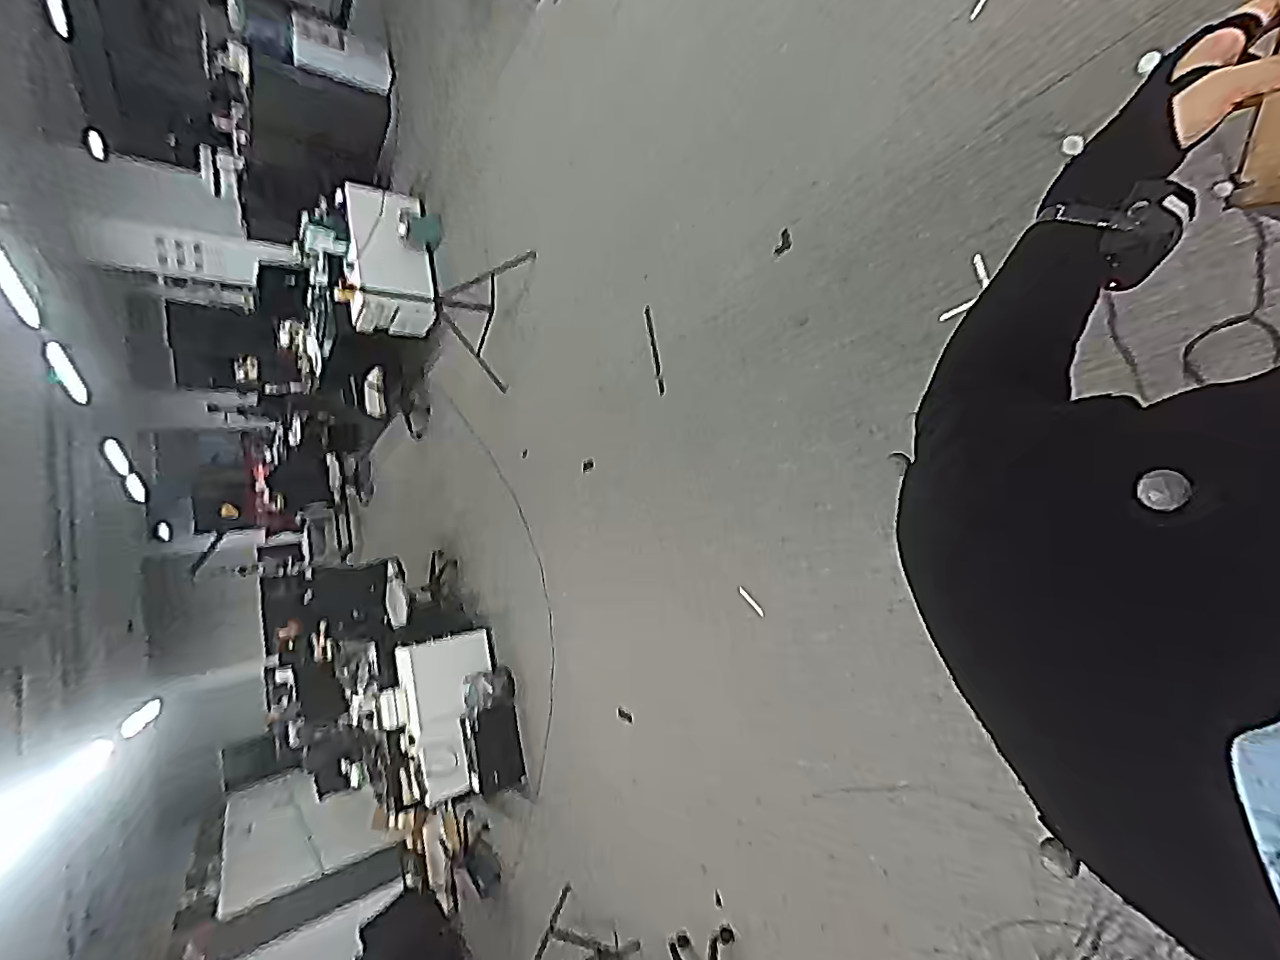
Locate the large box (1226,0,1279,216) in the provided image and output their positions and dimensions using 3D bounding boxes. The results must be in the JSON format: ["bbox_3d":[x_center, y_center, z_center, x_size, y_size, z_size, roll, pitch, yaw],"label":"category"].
[{"bbox_3d":[0.678,-0.341,0.293,0.408,0.320,0.320,22,119,51],"label":"large box"}]
